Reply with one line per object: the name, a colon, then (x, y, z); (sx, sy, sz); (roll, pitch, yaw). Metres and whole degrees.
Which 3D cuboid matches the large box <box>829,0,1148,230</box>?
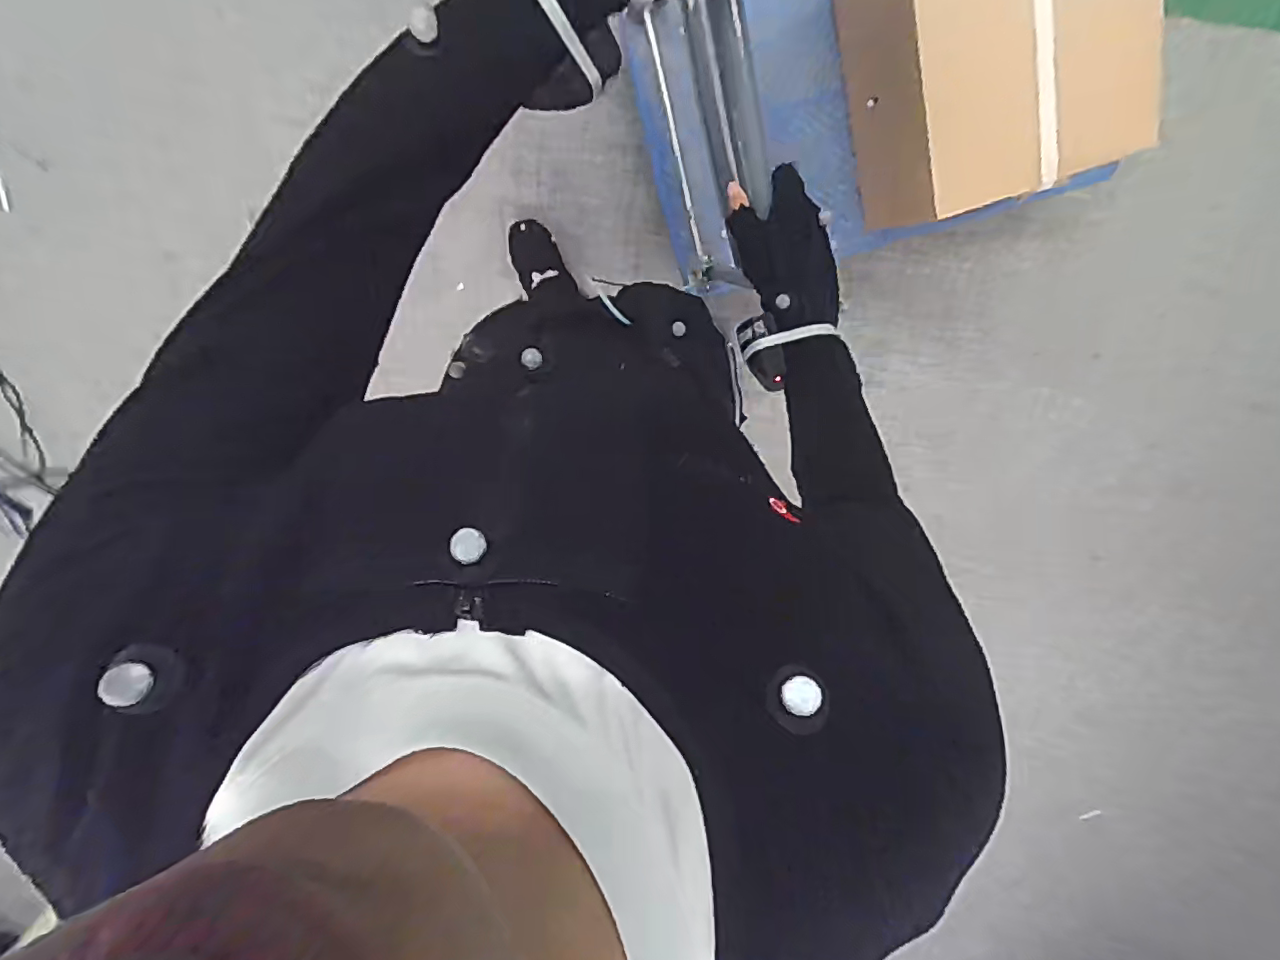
large box: (0.530, -0.667, 0.873); (0.320, 0.320, 0.408); (-16, 110, 8)
